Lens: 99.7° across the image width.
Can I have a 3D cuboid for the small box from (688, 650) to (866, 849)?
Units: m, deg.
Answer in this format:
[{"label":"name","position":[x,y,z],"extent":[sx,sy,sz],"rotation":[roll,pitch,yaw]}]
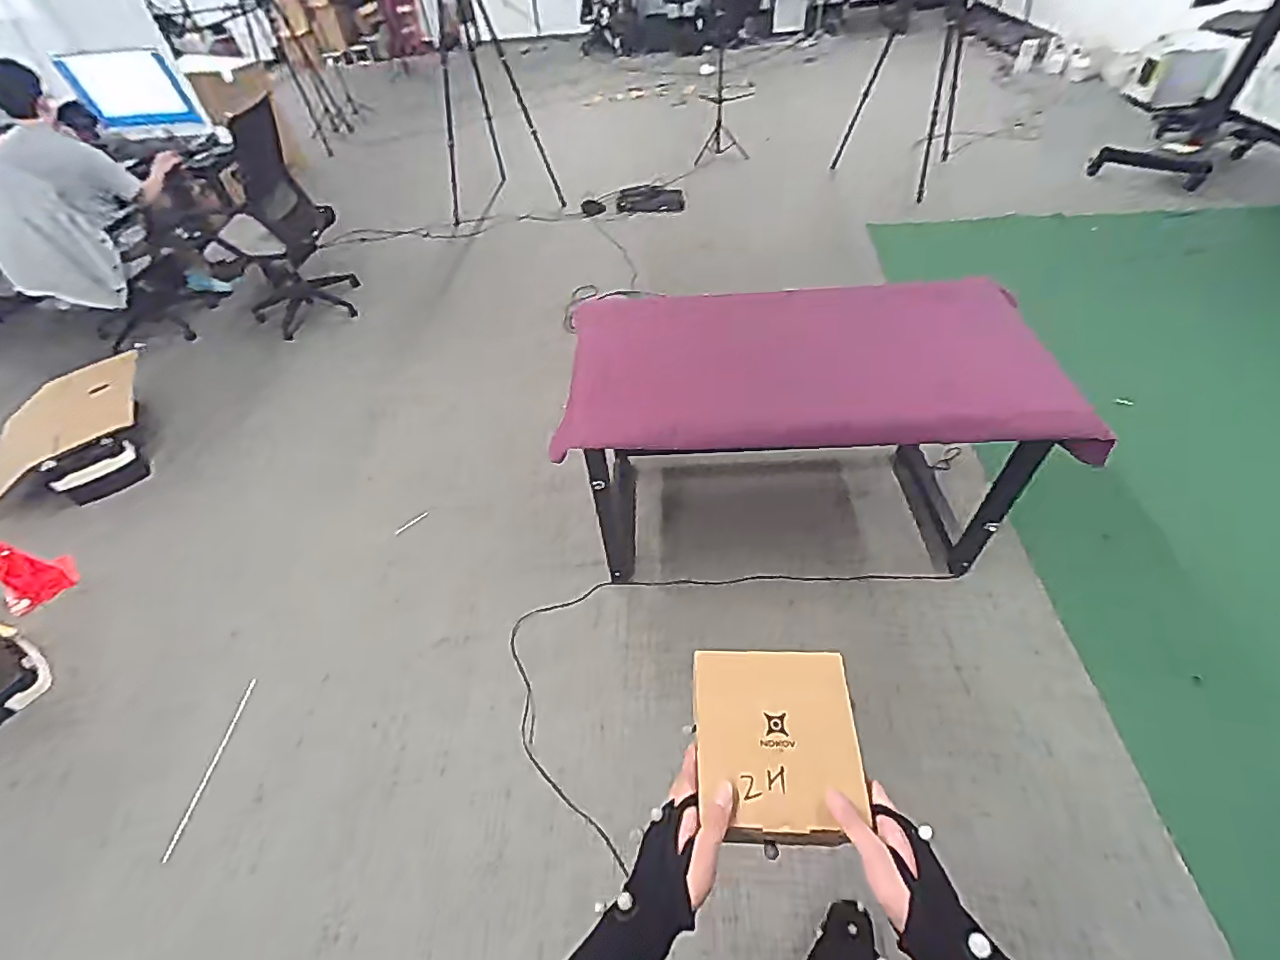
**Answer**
[{"label":"small box","position":[0.140,0.314,0.627],"extent":[0.168,0.176,0.179],"rotation":[-1,53,5]}]
